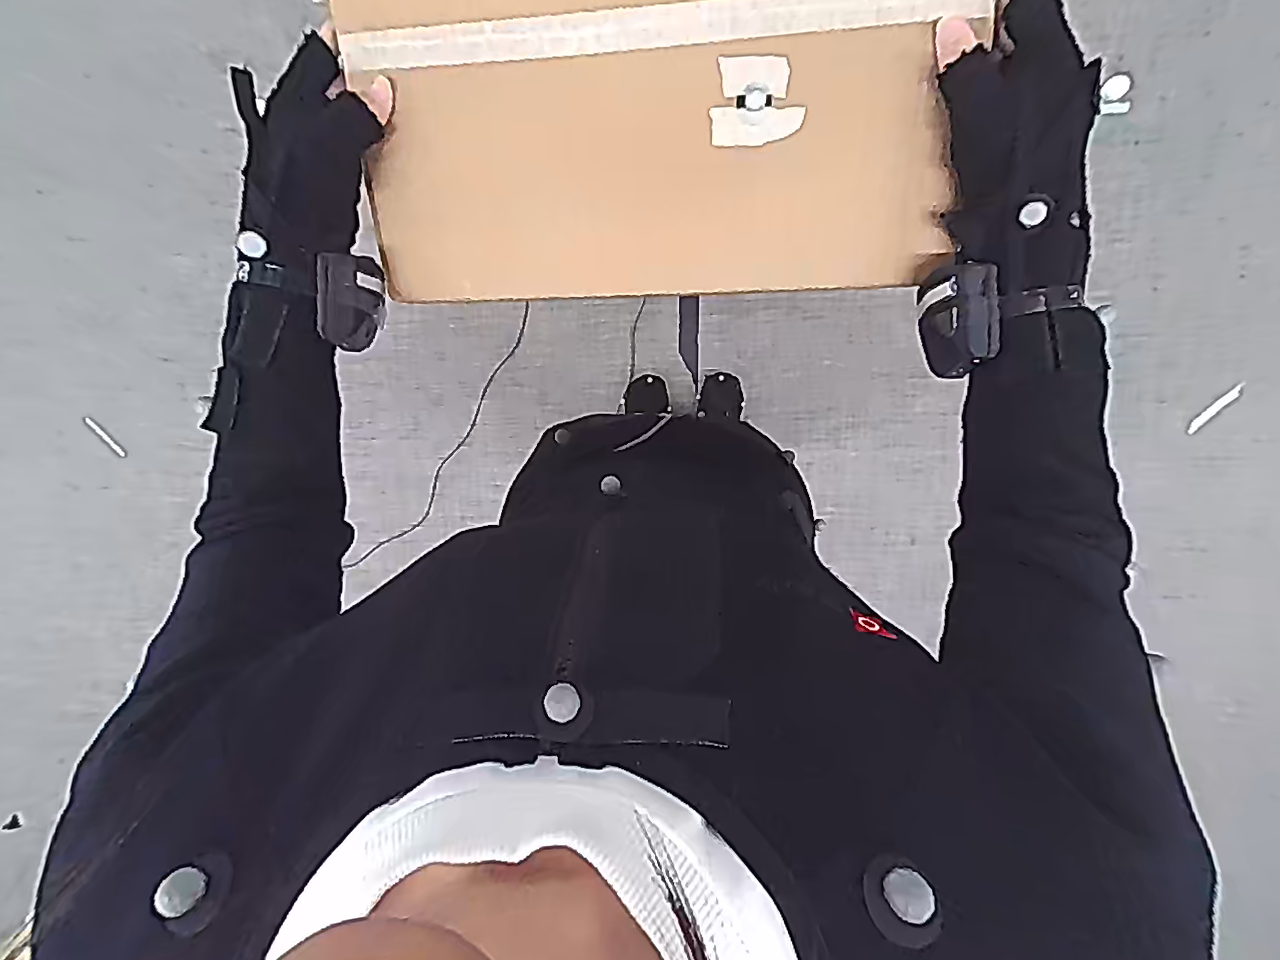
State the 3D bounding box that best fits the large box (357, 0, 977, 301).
[{"bbox_3d":[0.022,-0.339,0.490,0.408,0.320,0.320,0,111,6],"label":"large box"}]
